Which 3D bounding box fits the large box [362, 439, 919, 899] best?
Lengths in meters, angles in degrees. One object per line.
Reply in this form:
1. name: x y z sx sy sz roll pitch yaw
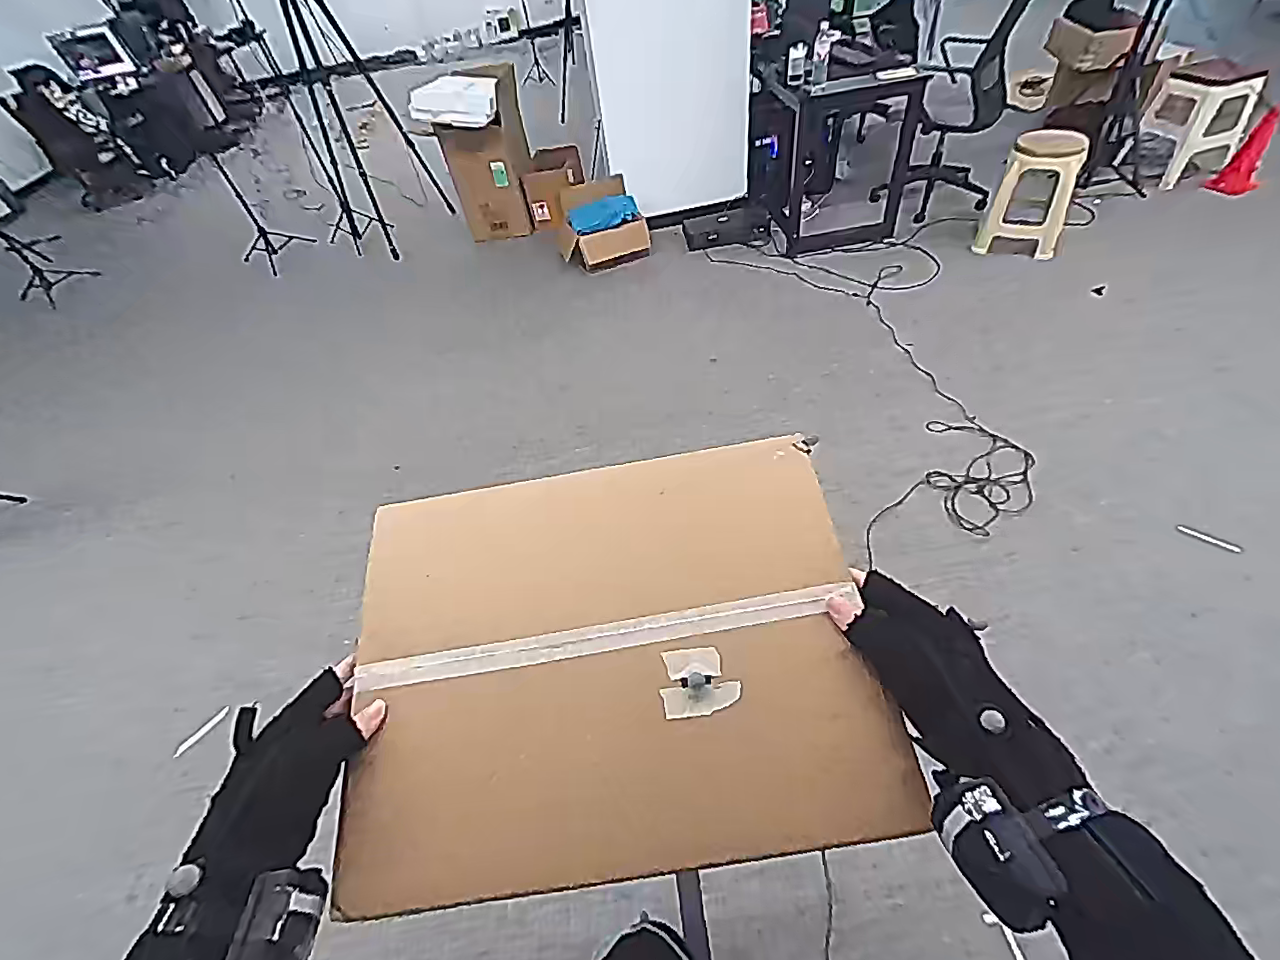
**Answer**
1. large box: -0.008 0.199 0.575 0.408 0.320 0.320 -10 61 1
